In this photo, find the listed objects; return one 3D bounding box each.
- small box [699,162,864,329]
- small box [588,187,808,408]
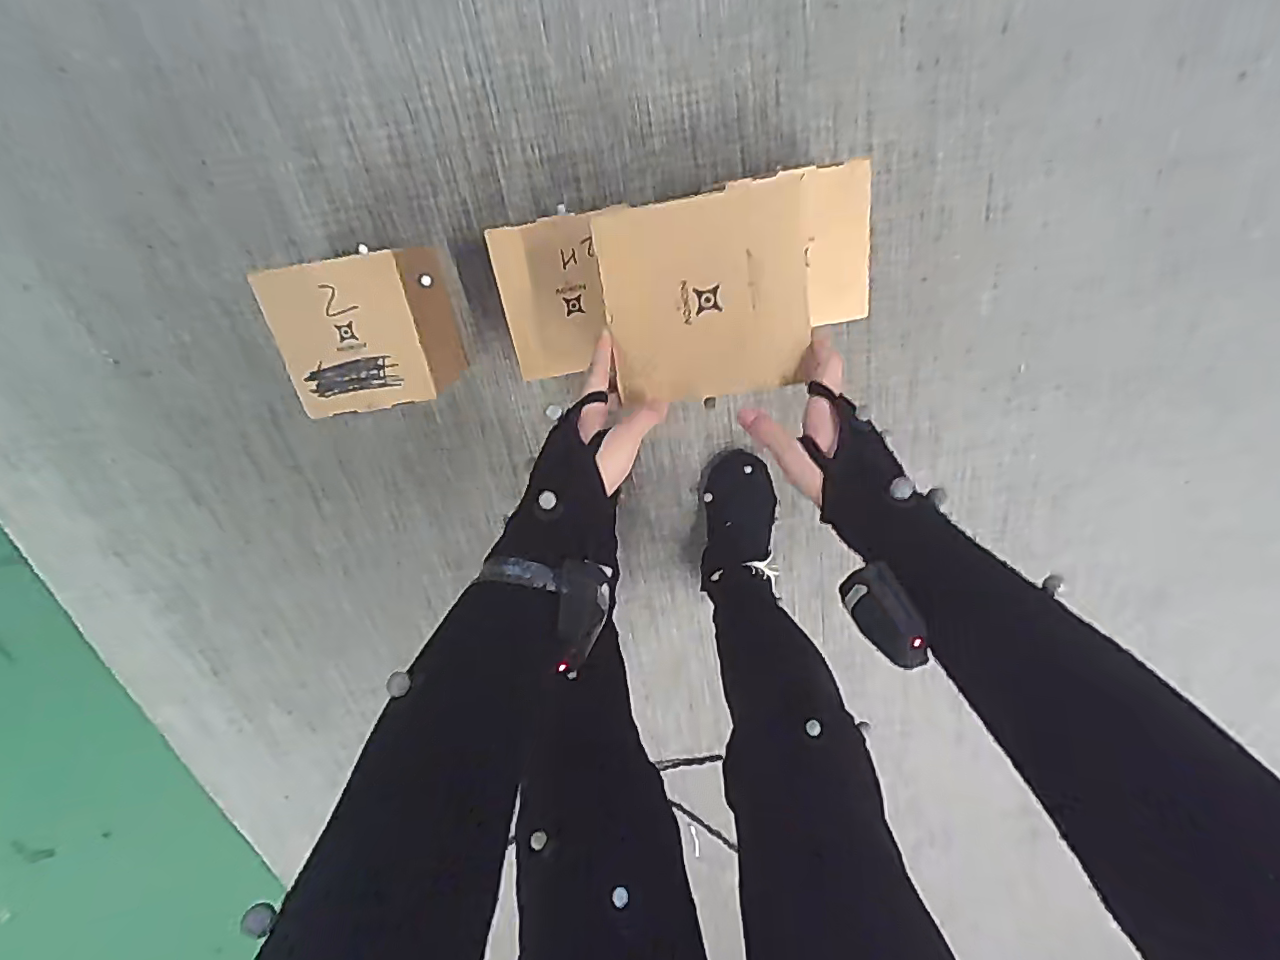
[{"bbox_3d":[0.176,-0.297,0.709,0.168,0.176,0.179,-10,114,0],"label":"small box"},{"bbox_3d":[0.059,-0.166,0.540,0.179,0.176,0.168,-6,101,7],"label":"small box"}]
